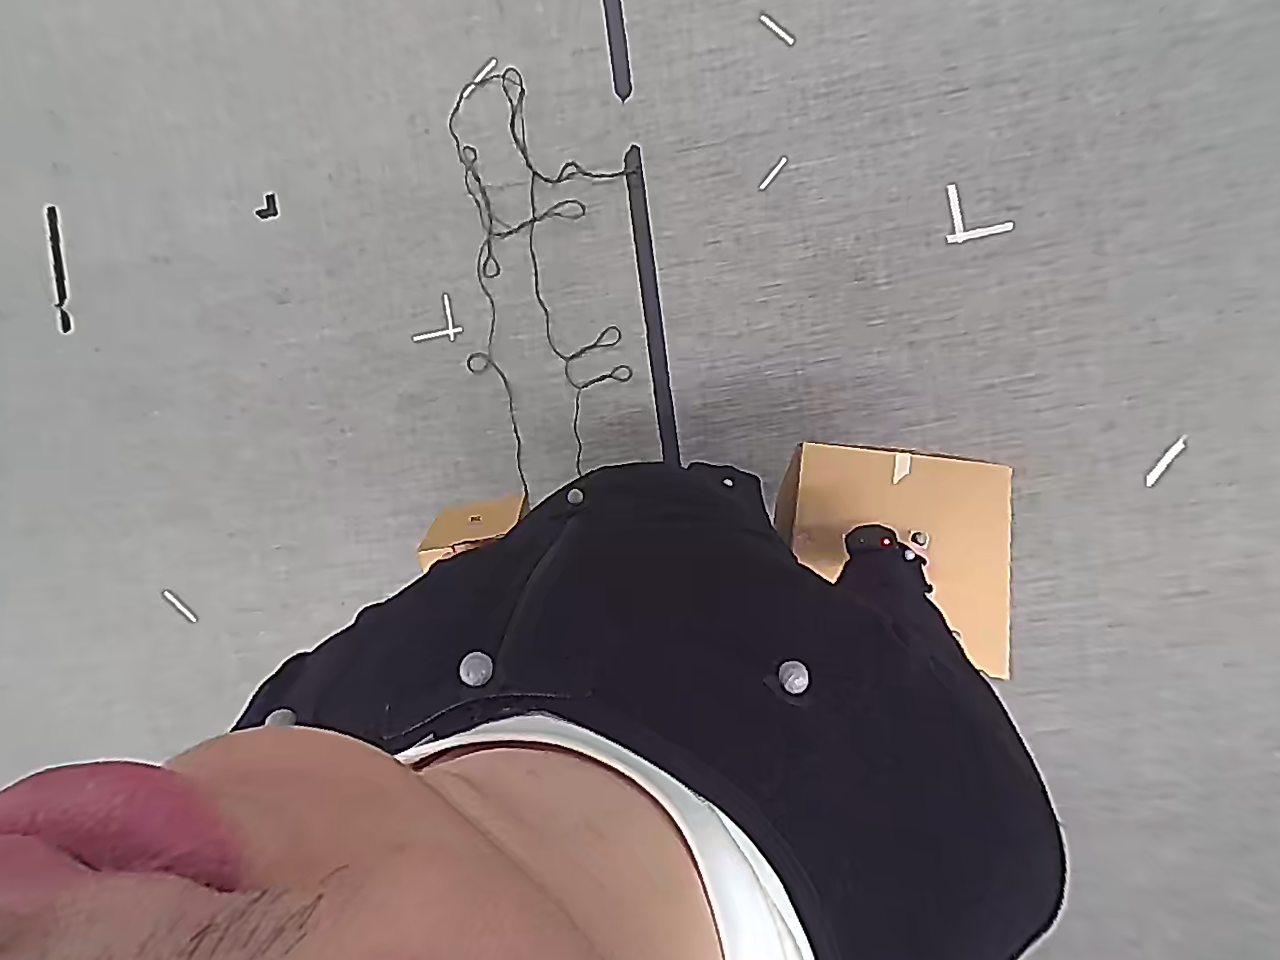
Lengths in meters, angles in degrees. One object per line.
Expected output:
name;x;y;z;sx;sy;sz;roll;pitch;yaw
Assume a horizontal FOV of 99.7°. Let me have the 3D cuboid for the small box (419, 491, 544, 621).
small box;-0.280;0.143;1.002;0.168;0.179;0.176;-11;112;-1
